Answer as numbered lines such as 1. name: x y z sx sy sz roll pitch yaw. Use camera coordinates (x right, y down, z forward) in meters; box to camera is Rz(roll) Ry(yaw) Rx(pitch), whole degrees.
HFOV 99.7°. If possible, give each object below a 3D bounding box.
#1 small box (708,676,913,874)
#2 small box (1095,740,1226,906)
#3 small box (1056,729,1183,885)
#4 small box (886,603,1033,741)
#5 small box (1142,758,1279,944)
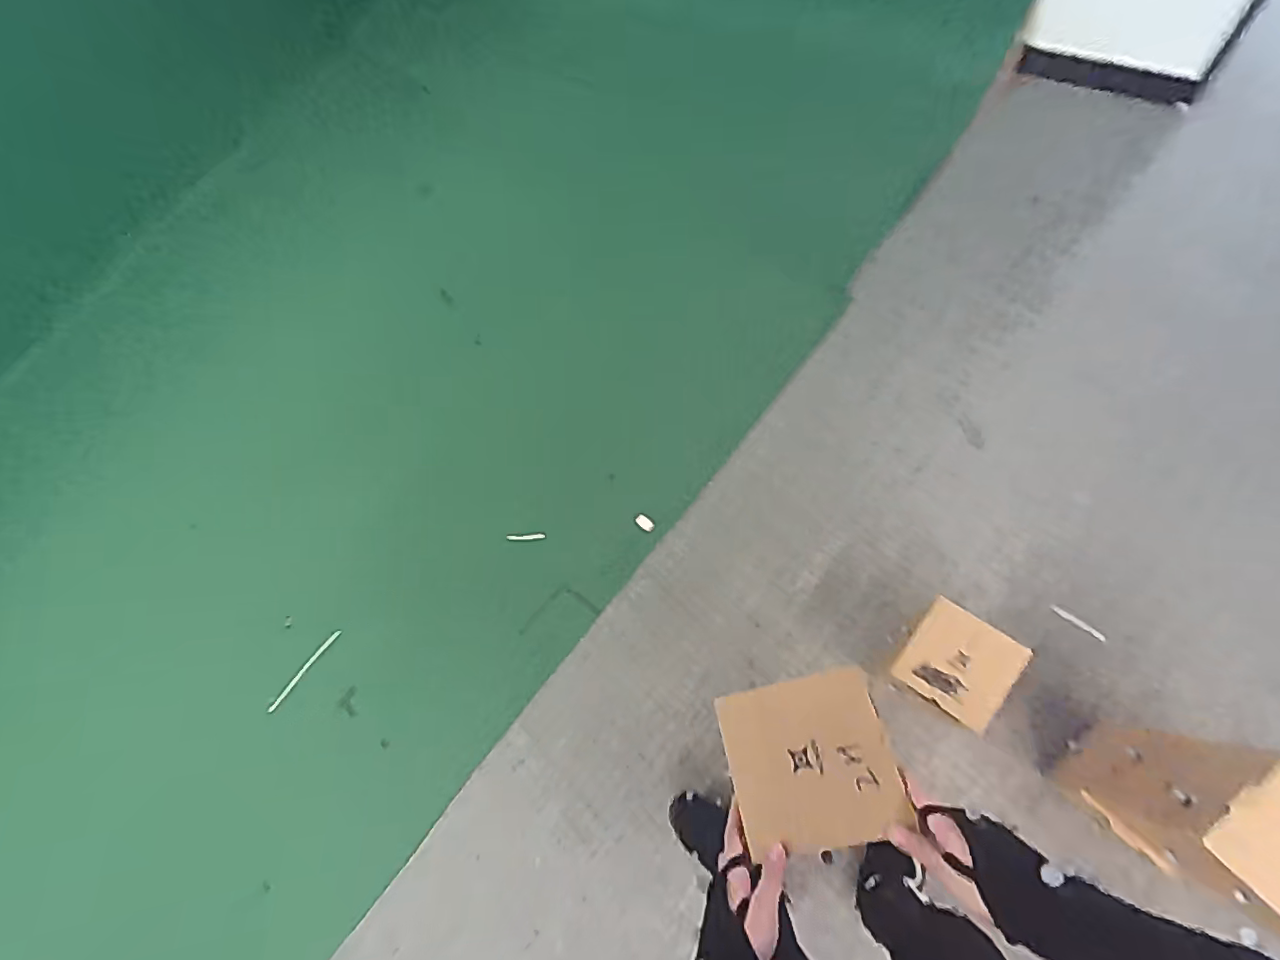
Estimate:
1. small box: 0.196 0.353 0.650 0.179 0.176 0.168 -17 58 7
2. small box: 0.903 0.548 0.868 0.168 0.176 0.179 -45 64 -2
3. small box: 0.936 0.601 1.019 0.179 0.176 0.168 -44 65 -1
4. small box: 0.591 0.362 1.028 0.168 0.176 0.179 34 82 24
5. small box: 0.848 0.499 0.722 0.168 0.176 0.179 -42 65 0
